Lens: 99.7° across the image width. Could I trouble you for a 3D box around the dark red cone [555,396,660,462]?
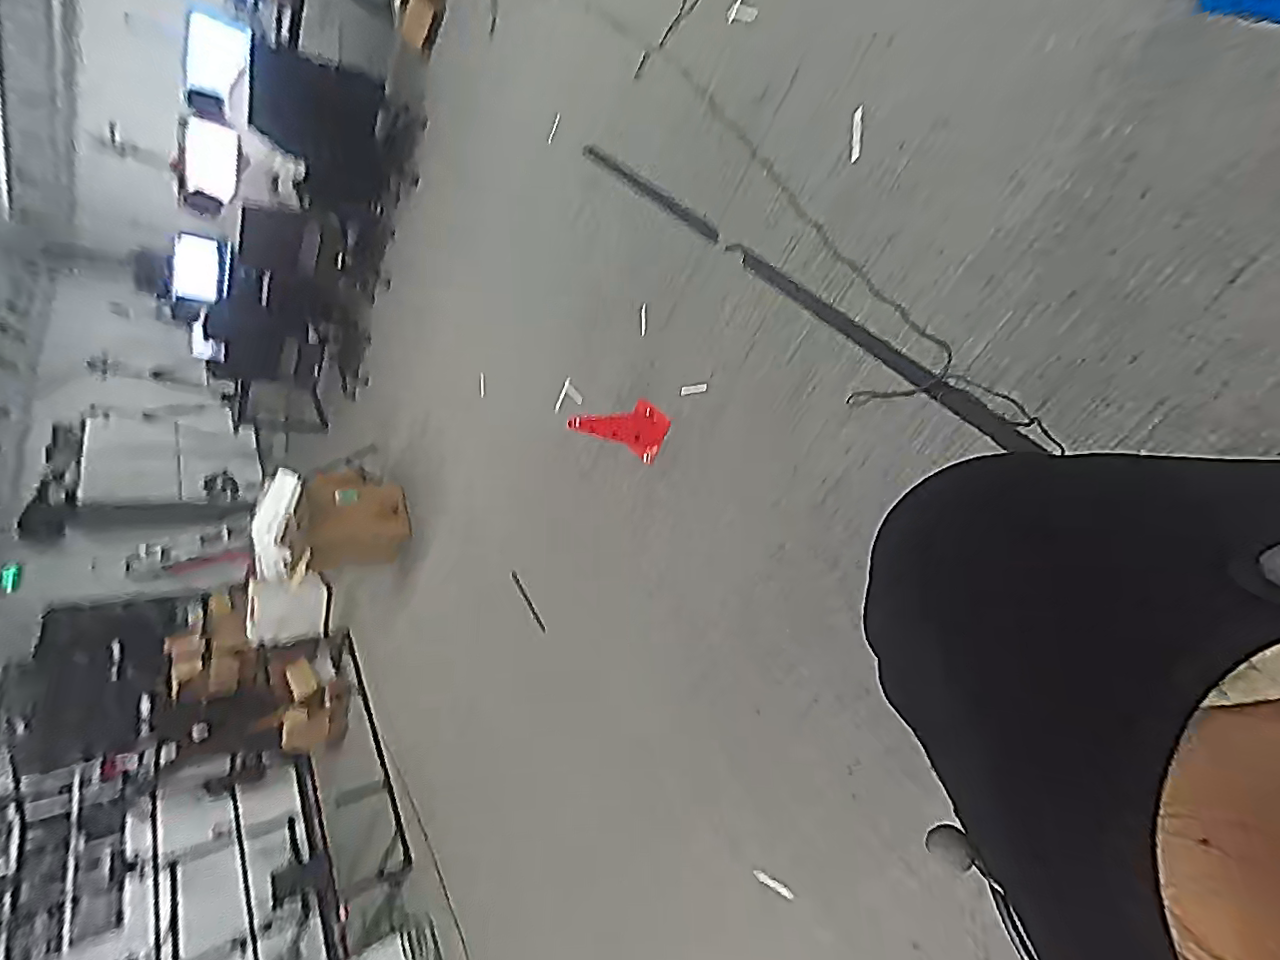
[{"bbox_3d":[-0.131,-0.197,1.925,0.202,0.394,0.201,44,119,38],"label":"dark red cone"}]
